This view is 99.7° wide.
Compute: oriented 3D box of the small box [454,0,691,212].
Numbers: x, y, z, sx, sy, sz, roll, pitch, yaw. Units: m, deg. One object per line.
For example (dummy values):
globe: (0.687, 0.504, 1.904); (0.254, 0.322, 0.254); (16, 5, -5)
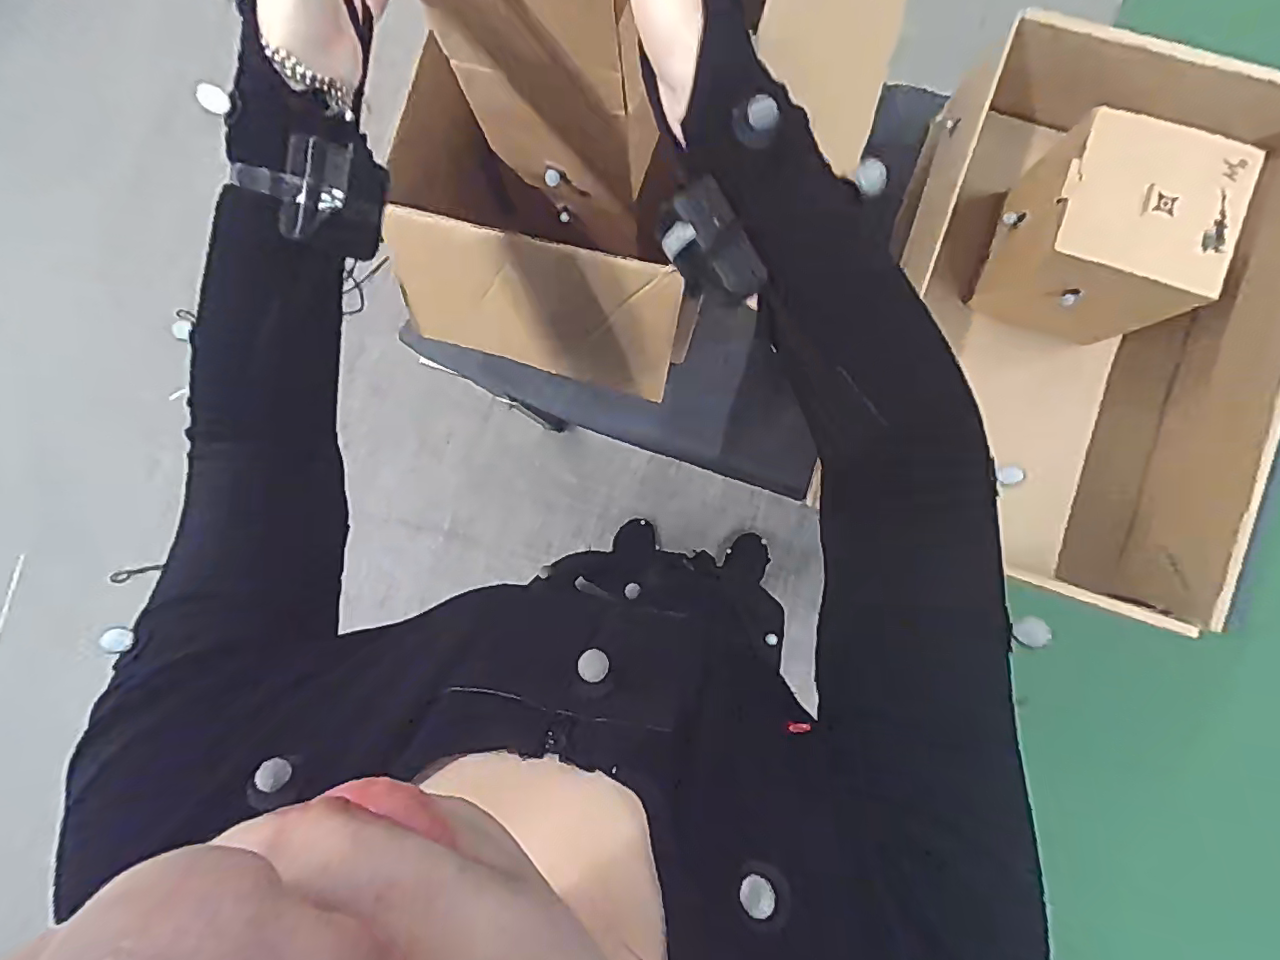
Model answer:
small box: (-0.054, -0.414, 0.544); (0.168, 0.176, 0.179); (20, 90, 3)

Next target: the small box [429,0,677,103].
small box: (-0.063, -0.417, 0.383); (0.179, 0.176, 0.168); (21, 89, 2)
